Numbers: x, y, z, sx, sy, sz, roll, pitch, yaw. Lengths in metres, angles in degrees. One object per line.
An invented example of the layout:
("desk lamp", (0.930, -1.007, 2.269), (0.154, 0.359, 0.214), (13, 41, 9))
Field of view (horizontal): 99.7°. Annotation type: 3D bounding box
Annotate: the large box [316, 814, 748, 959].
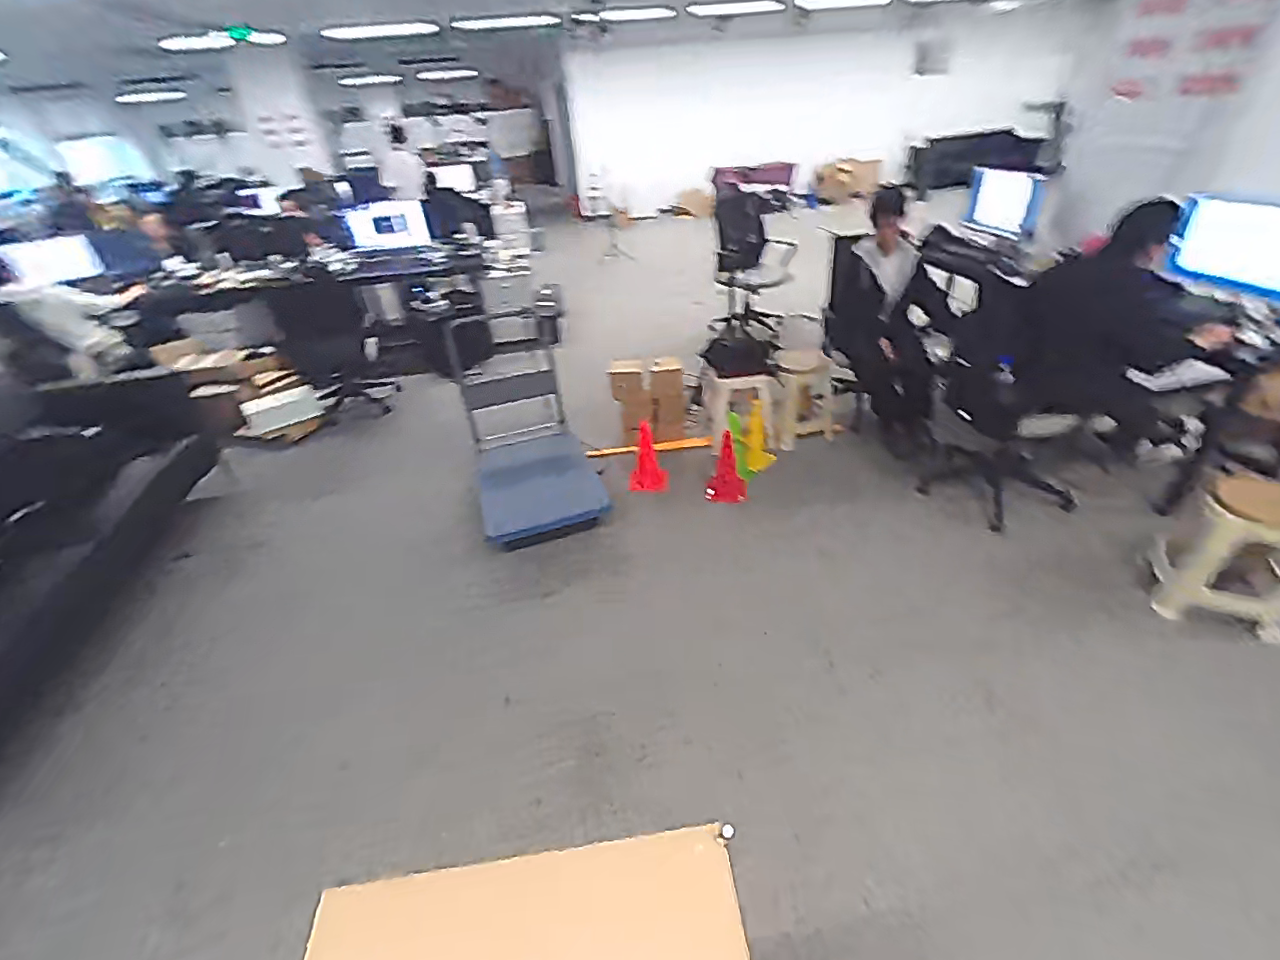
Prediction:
("large box", (-0.088, 0.594, 0.548), (0.408, 0.320, 0.320), (-7, 43, -5))
